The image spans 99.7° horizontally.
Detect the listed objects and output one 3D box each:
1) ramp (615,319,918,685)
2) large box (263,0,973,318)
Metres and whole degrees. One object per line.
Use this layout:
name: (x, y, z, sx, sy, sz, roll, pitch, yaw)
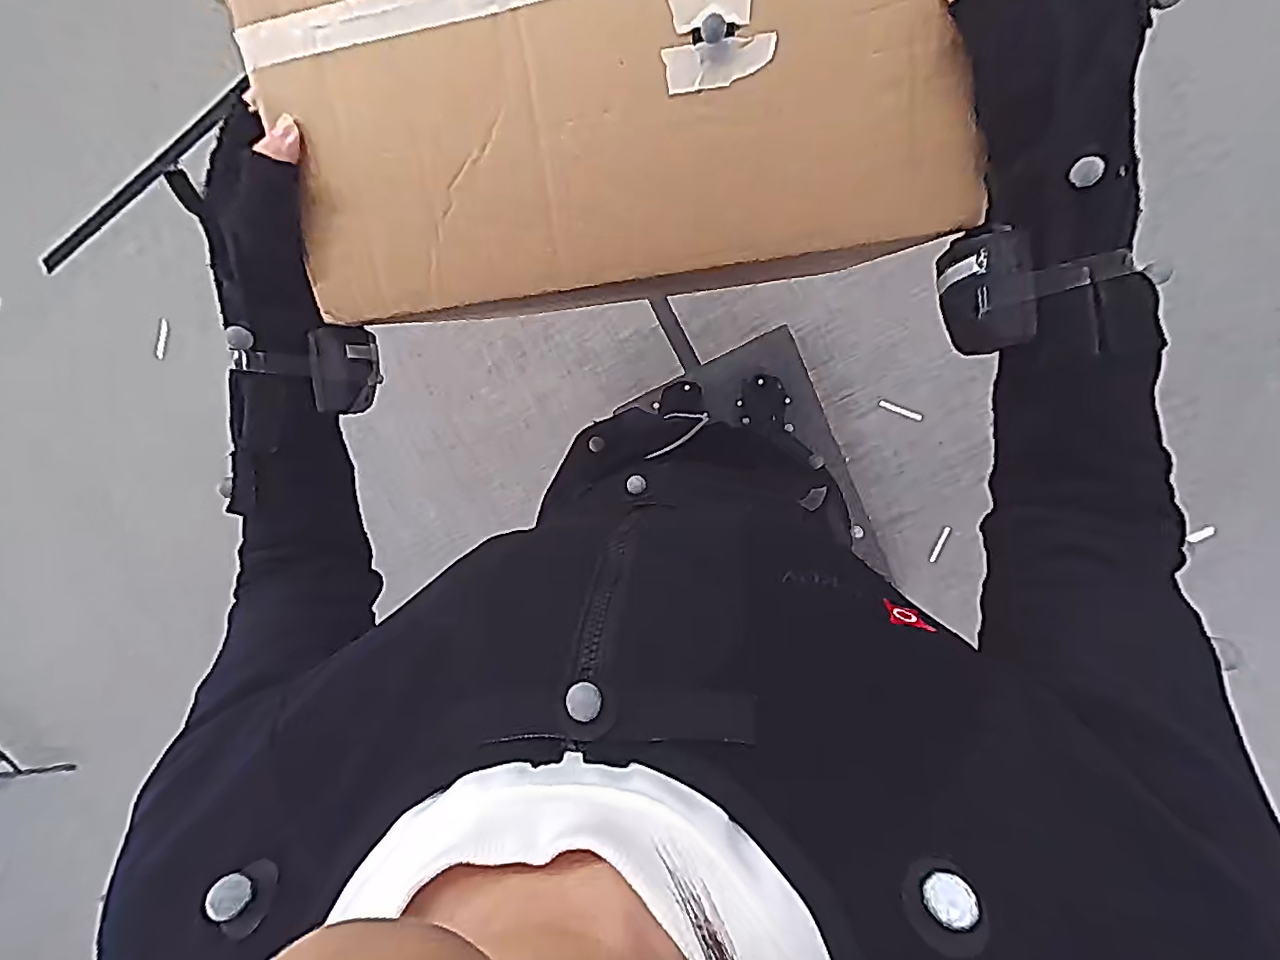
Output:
ramp: (0.376, 0.121, 1.500, 0.509, 0.206, 0.991, -27, 95, 12)
large box: (-0.011, -0.321, 0.440, 0.408, 0.320, 0.320, -6, 107, 8)
